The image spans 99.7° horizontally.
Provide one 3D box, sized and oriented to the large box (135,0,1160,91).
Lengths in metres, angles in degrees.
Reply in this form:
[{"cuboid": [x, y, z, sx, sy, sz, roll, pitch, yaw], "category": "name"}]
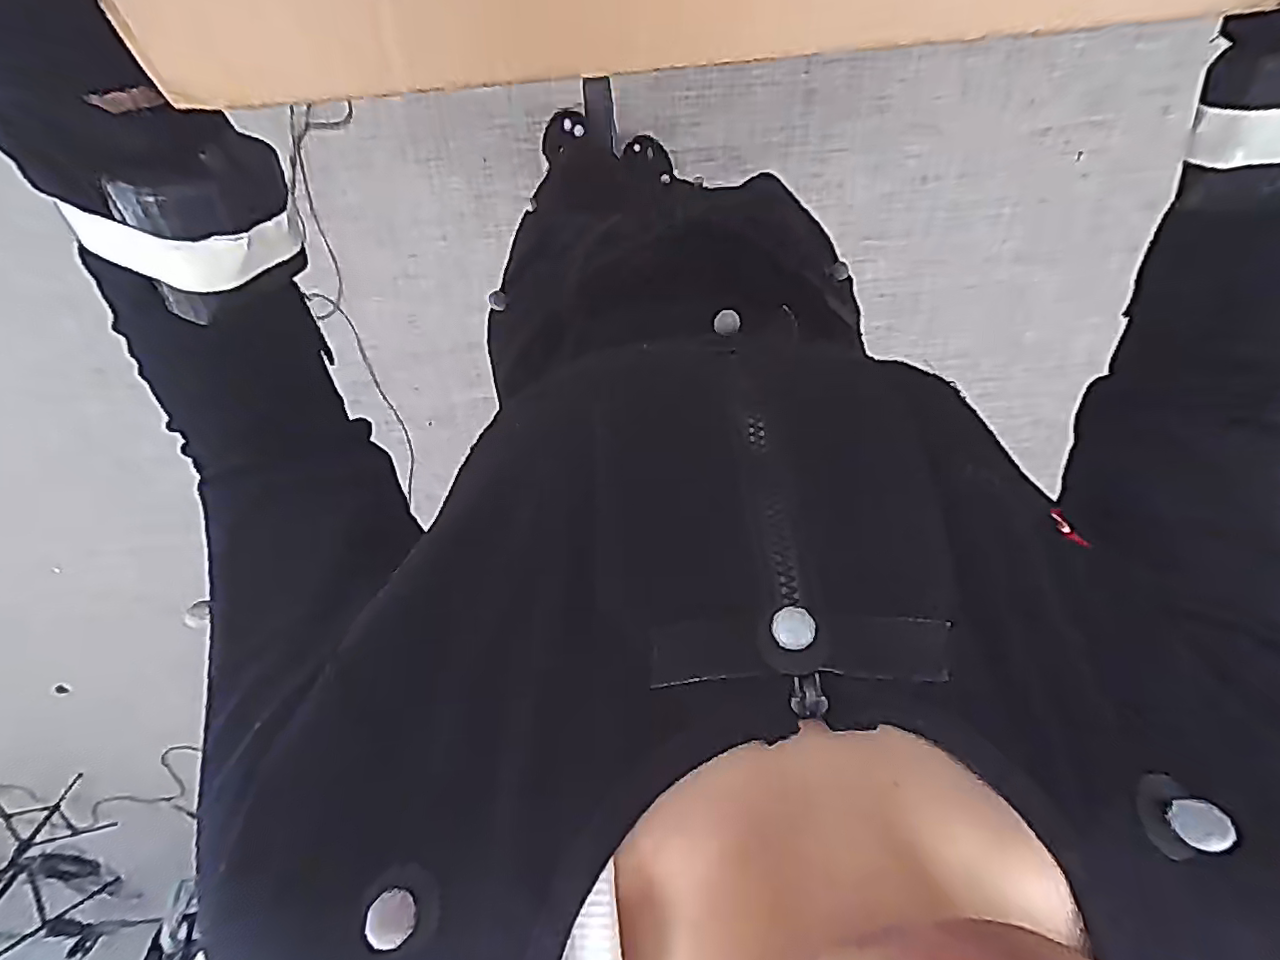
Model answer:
[{"cuboid": [0.011, -0.373, 0.163, 0.408, 0.320, 0.320, -6, 144, -1], "category": "large box"}]
